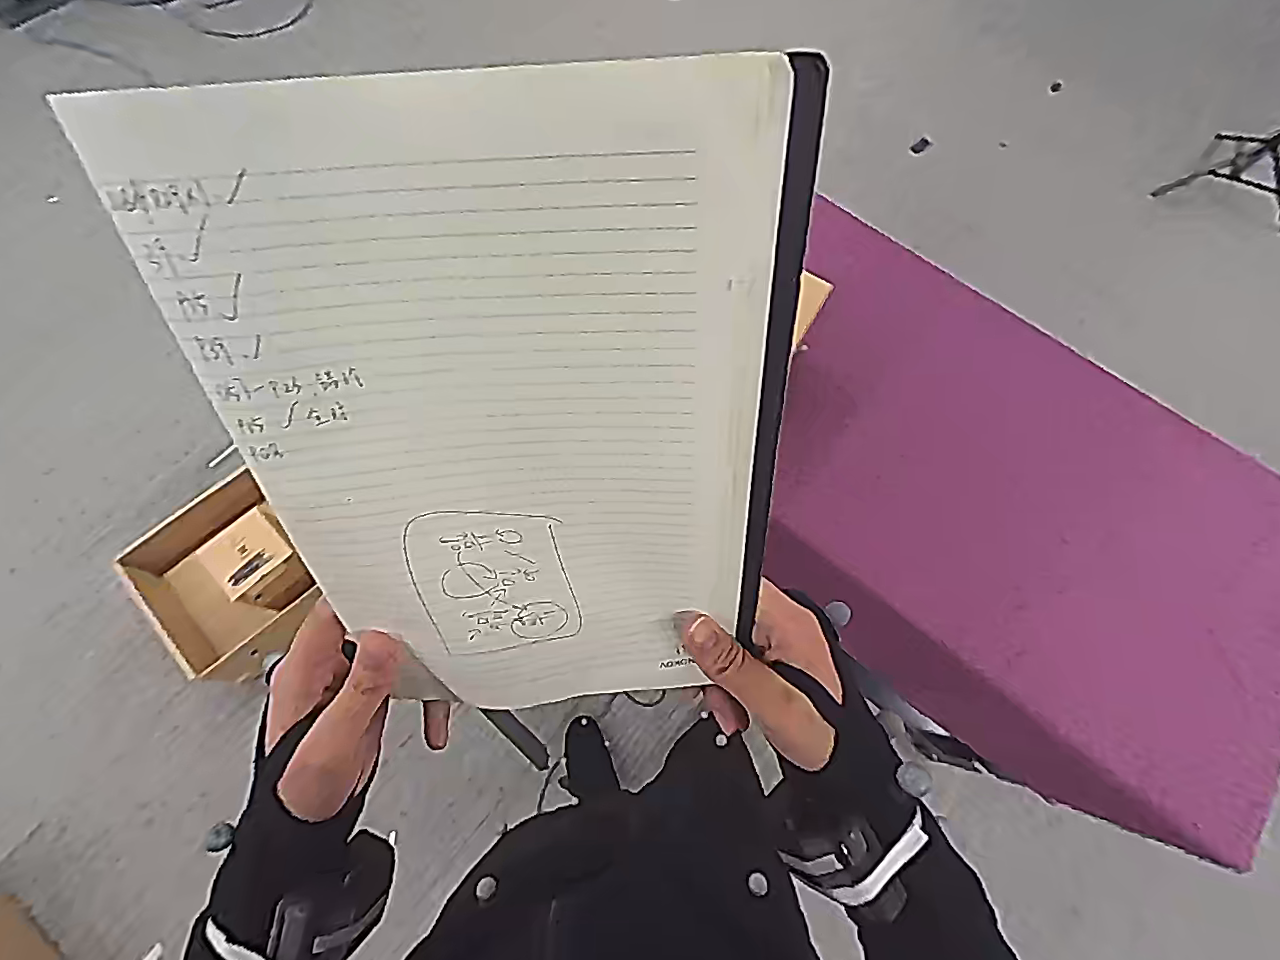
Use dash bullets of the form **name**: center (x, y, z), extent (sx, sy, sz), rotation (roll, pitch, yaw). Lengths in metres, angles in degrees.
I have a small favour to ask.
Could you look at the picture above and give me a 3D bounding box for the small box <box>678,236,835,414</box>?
- **small box**: center (0.172, -0.234, 0.855), extent (0.168, 0.176, 0.179), rotation (32, 72, 8)
